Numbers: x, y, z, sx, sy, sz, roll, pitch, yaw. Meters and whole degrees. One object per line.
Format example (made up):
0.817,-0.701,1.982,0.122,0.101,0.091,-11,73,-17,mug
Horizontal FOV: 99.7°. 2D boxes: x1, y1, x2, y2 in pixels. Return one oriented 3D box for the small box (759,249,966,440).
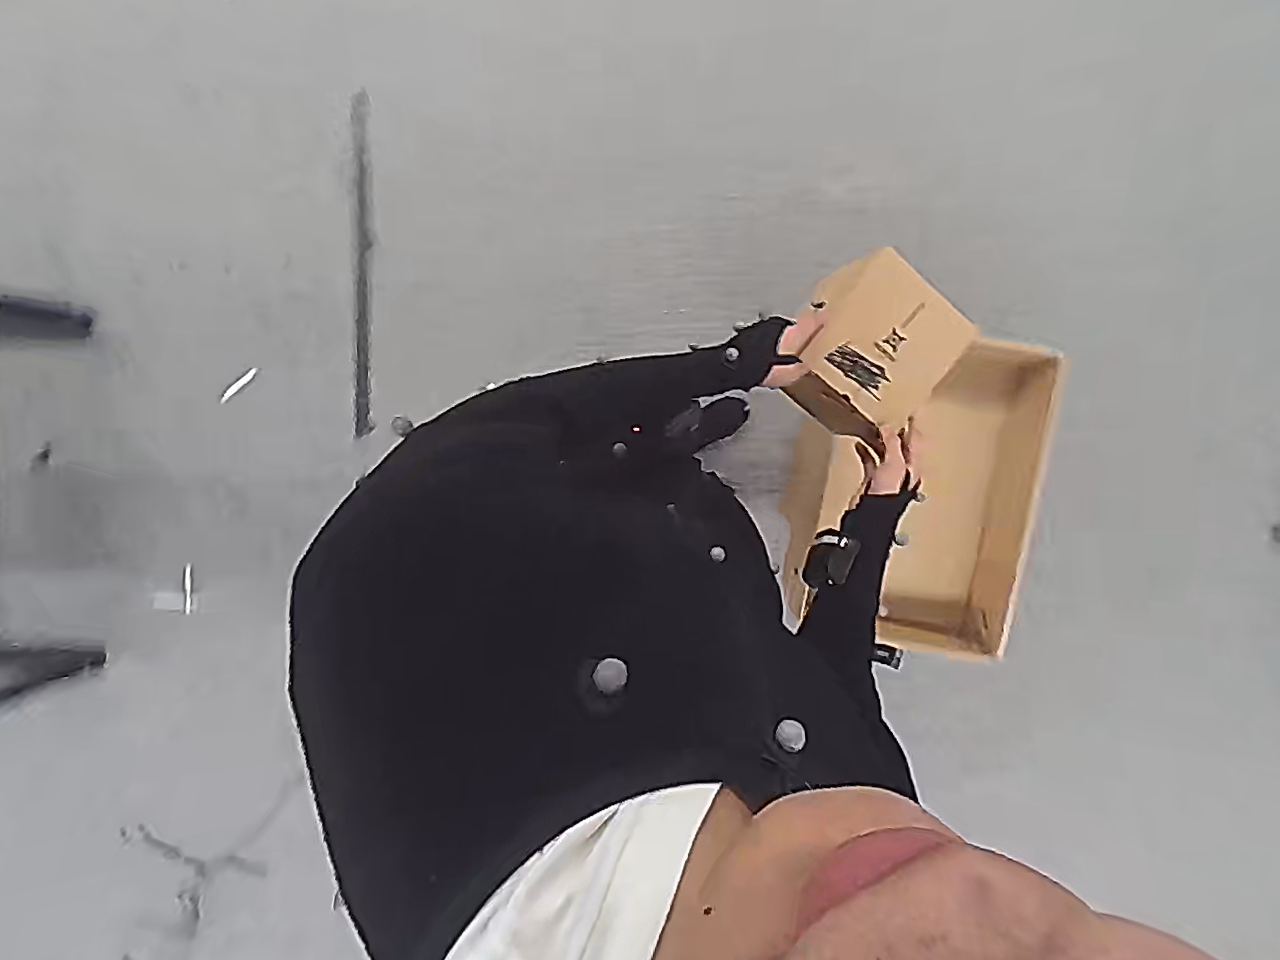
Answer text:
0.287,-0.174,0.745,0.168,0.176,0.179,36,92,-10,small box
